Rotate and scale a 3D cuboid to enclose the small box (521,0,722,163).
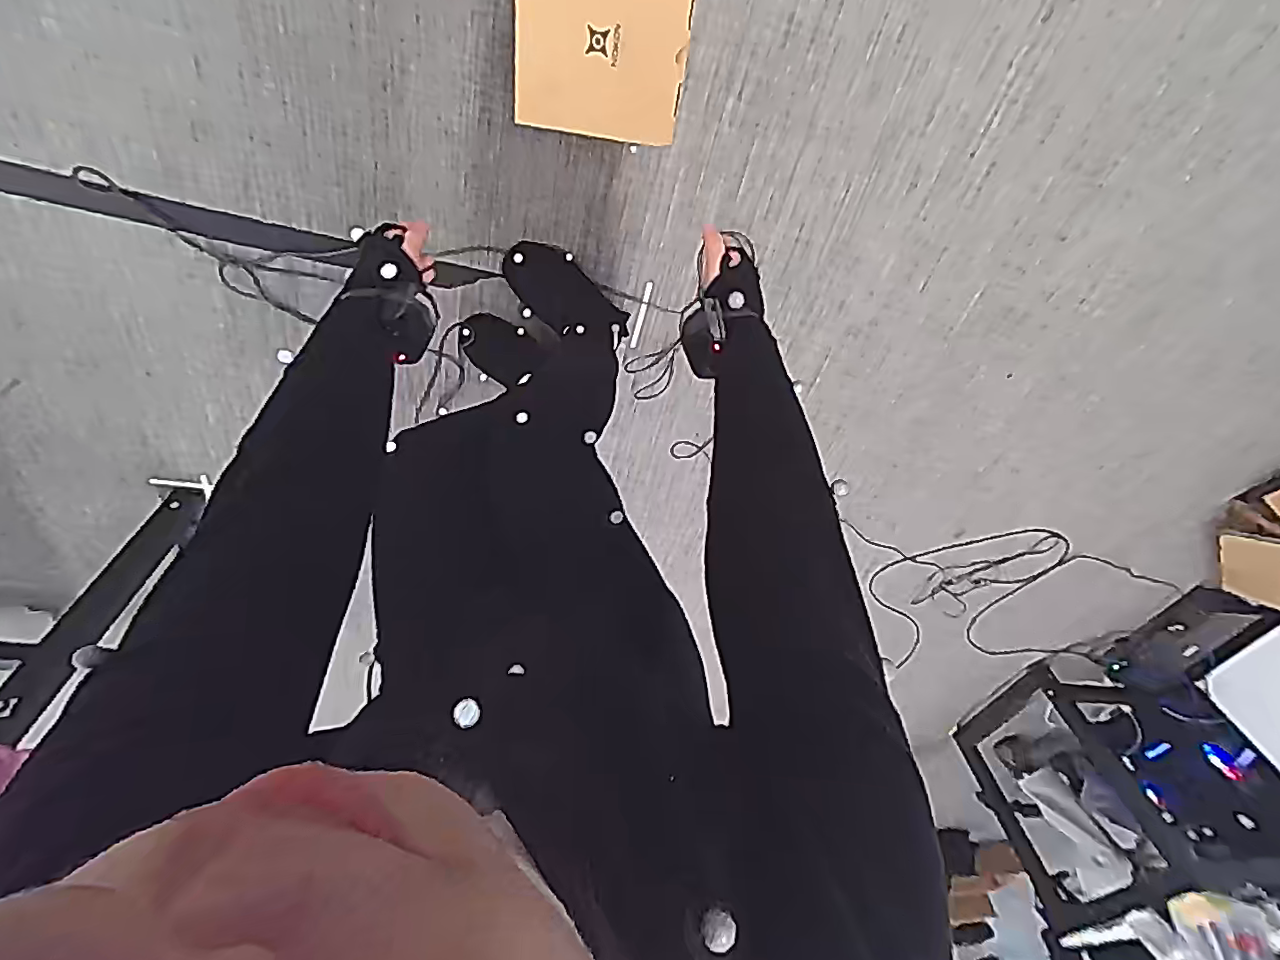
[{"bbox_3d":[-0.024,-0.459,0.581,0.168,0.176,0.179,-9,114,-23],"label":"small box"}]
